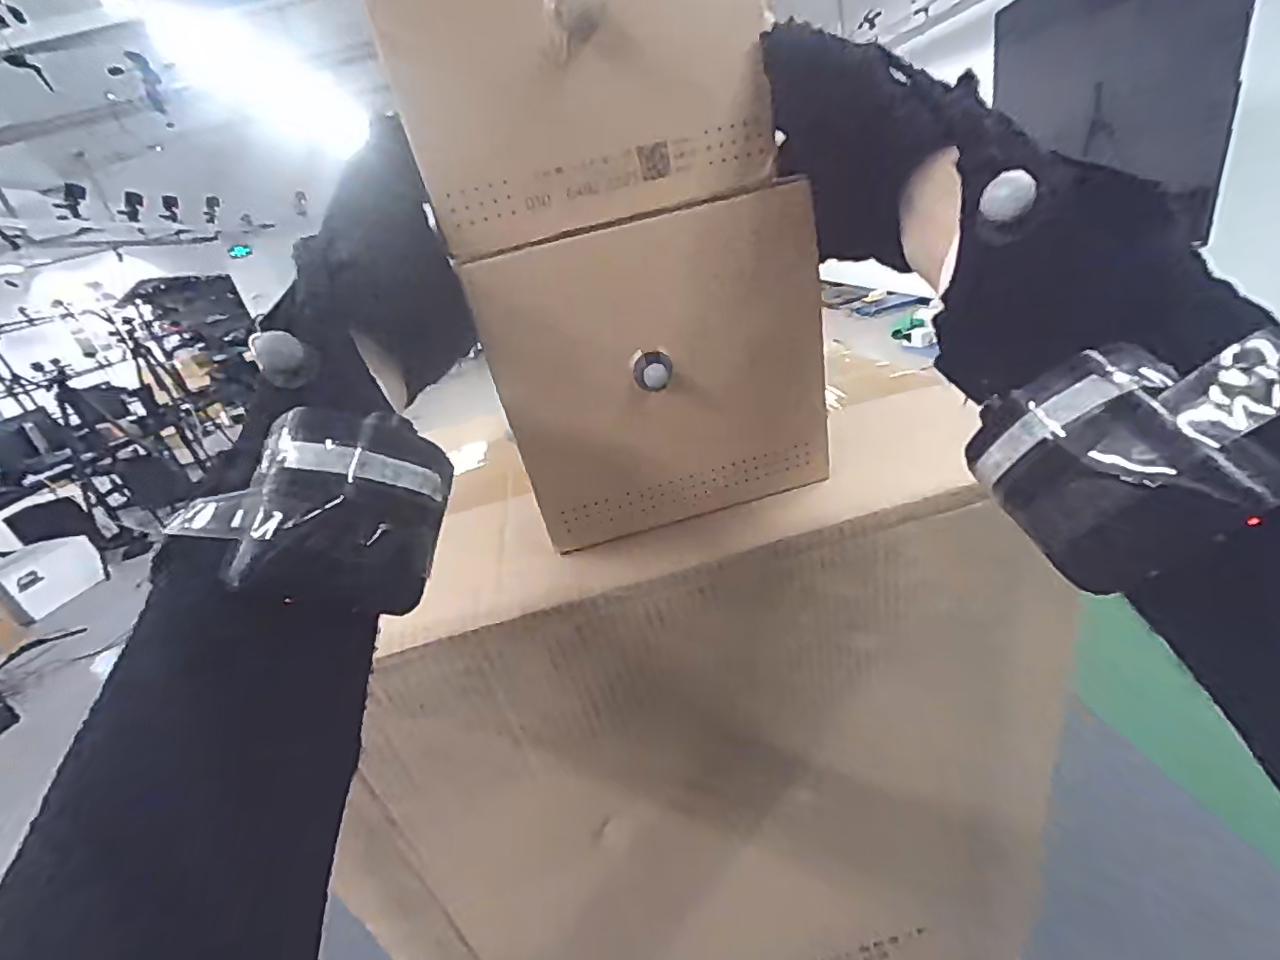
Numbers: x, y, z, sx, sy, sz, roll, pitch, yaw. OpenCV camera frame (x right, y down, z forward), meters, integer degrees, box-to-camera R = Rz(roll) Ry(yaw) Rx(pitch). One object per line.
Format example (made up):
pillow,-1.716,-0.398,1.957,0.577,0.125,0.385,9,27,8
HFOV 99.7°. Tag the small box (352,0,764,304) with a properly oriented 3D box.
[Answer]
small box,-0.042,-0.208,0.315,0.168,0.176,0.179,-18,27,-6

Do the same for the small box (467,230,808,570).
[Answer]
small box,0.003,-0.065,0.373,0.179,0.176,0.168,-15,26,-3
